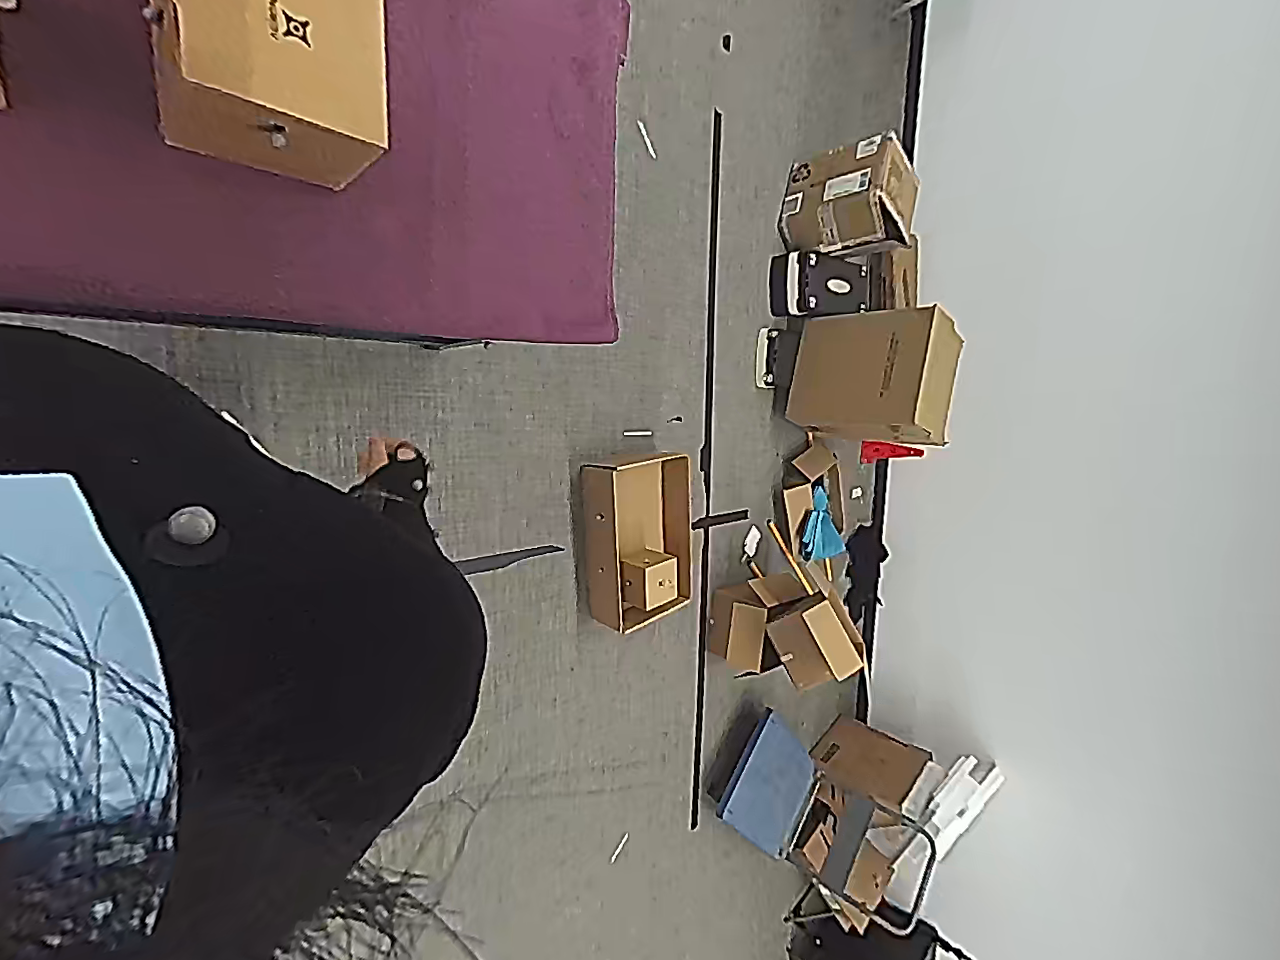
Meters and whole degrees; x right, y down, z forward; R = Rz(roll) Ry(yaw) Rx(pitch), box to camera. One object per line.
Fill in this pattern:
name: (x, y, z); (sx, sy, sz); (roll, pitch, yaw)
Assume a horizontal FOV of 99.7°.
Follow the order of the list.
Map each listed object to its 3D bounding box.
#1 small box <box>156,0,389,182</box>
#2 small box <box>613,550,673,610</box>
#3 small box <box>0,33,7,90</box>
small box: (-0.389, -0.441, 0.574); (0.179, 0.176, 0.168); (-6, 100, -44)
small box: (0.009, 0.377, 2.071); (0.179, 0.176, 0.168); (-11, 105, -45)
small box: (-0.590, -0.409, 0.374); (0.179, 0.176, 0.168); (-7, 102, -45)
